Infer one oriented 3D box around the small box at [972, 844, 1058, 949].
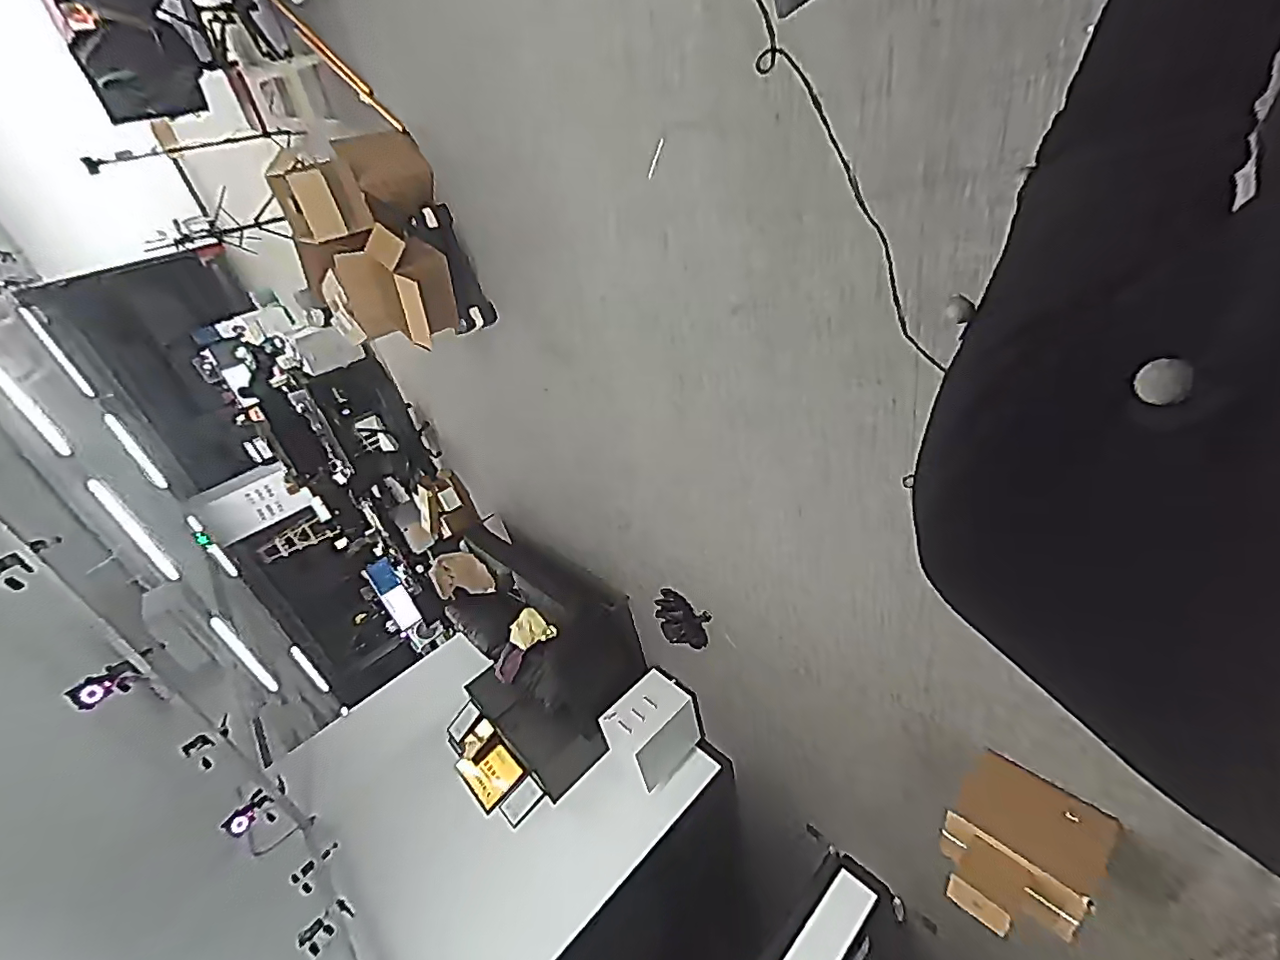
[{"bbox_3d":[1.208,1.333,1.742,0.179,0.176,0.168,24,136,47],"label":"small box"}]
